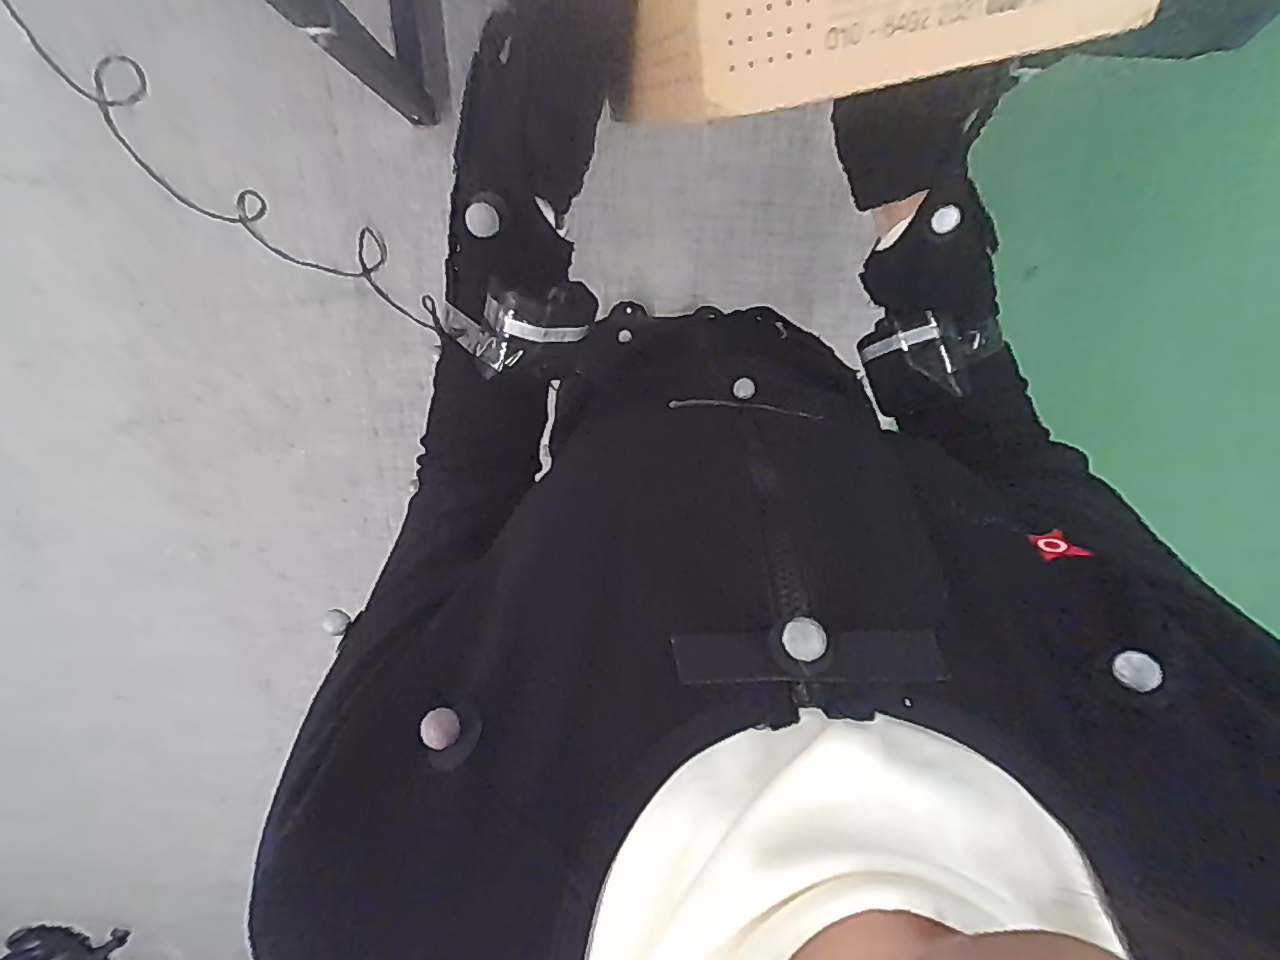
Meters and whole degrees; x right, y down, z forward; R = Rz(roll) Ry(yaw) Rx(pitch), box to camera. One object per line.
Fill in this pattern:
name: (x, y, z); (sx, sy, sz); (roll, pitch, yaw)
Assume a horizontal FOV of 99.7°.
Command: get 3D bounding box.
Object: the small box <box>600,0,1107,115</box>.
small box: (0.068, -0.260, 0.217); (0.168, 0.179, 0.176); (-16, 125, -5)
